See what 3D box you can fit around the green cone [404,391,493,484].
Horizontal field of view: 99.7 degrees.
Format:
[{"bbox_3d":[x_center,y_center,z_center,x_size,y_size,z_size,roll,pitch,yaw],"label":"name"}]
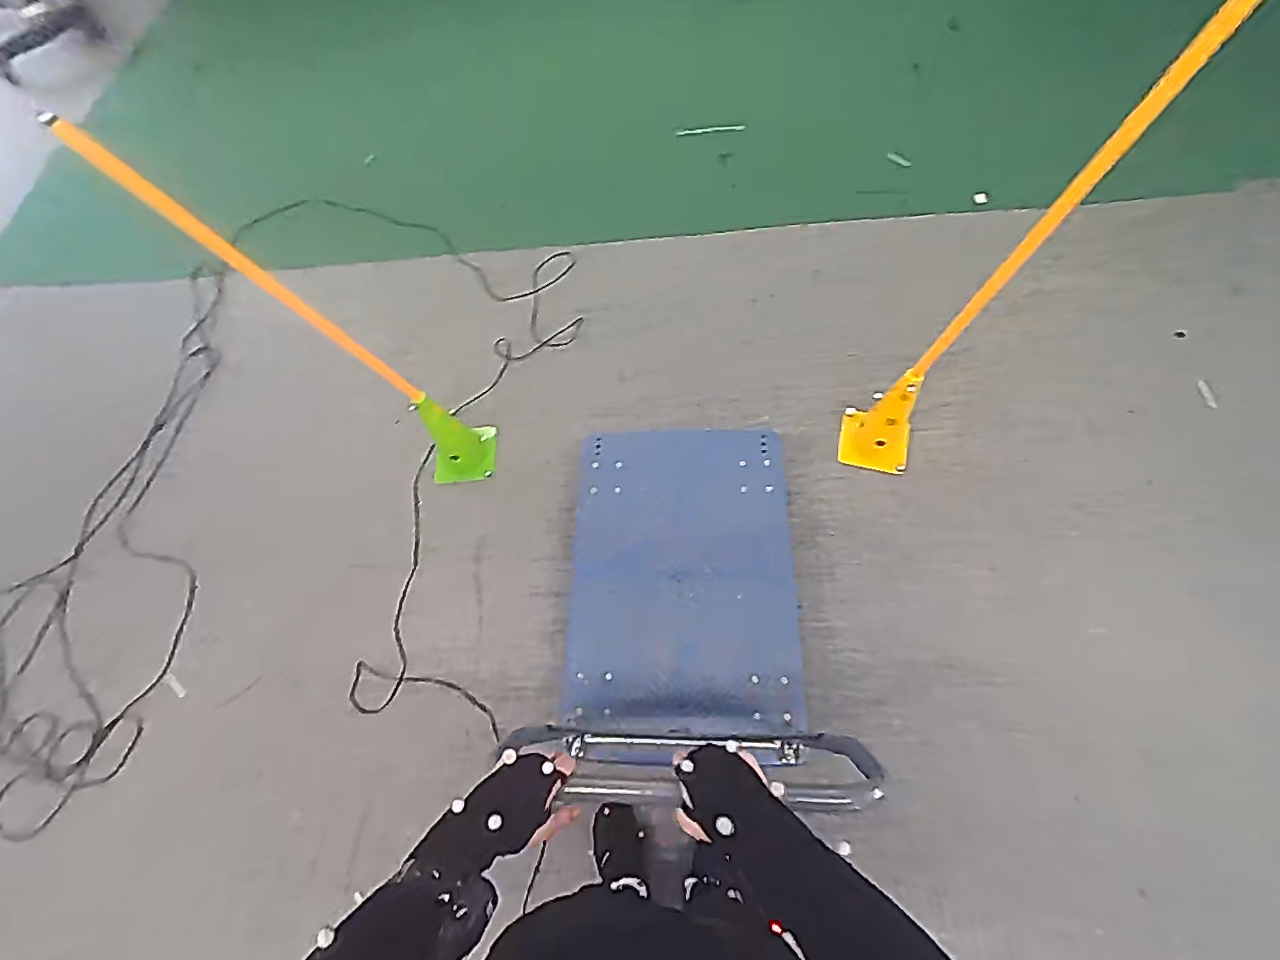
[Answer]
[{"bbox_3d":[-0.610,-0.160,1.656,0.202,0.368,0.200,-7,64,4],"label":"green cone"}]
